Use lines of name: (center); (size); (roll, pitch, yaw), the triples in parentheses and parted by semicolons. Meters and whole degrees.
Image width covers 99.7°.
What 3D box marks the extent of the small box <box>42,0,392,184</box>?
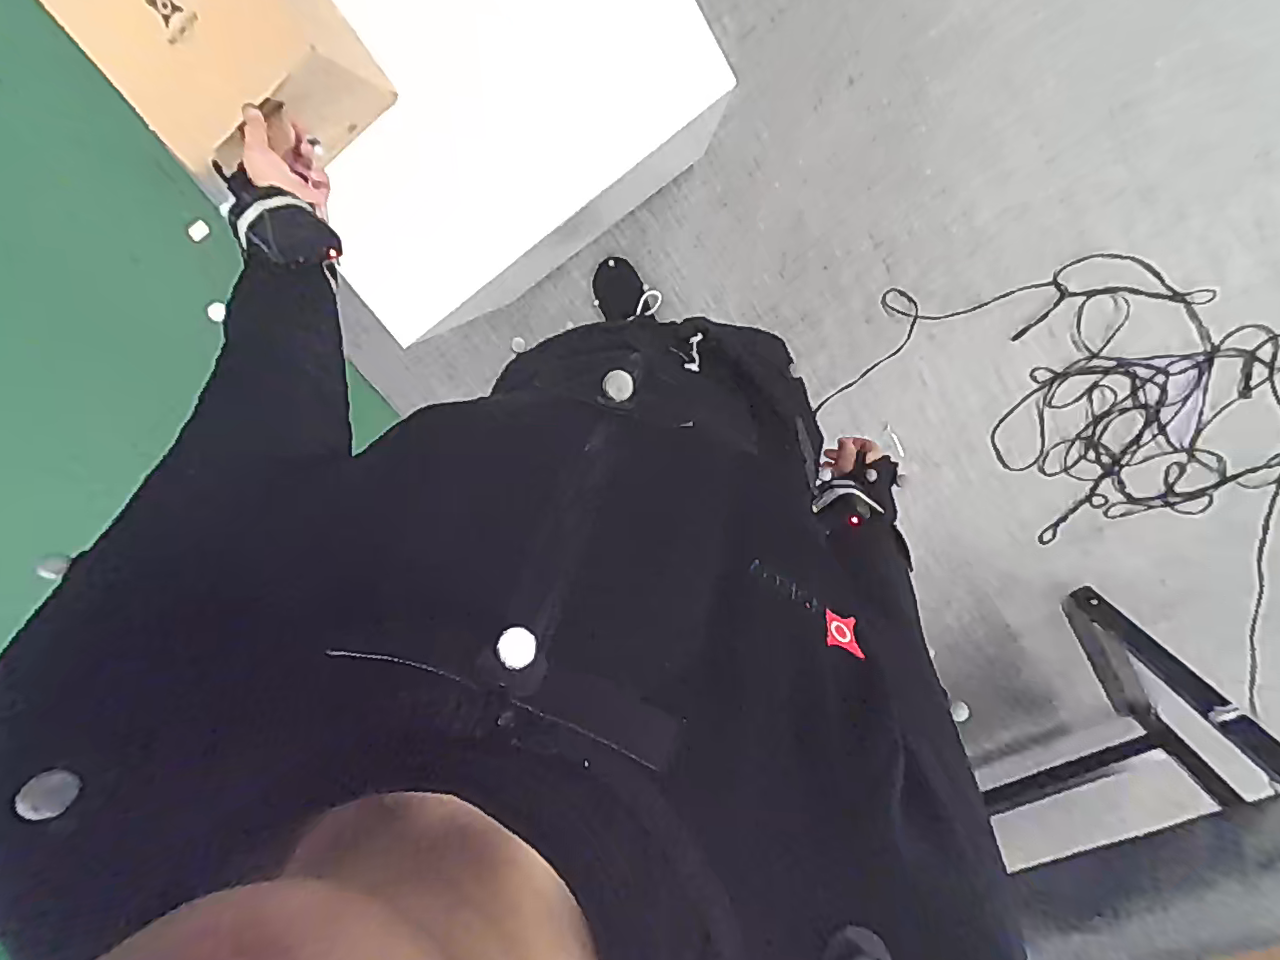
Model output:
small box: (-0.382, -0.413, 0.514); (0.168, 0.176, 0.179); (-31, 111, 14)
